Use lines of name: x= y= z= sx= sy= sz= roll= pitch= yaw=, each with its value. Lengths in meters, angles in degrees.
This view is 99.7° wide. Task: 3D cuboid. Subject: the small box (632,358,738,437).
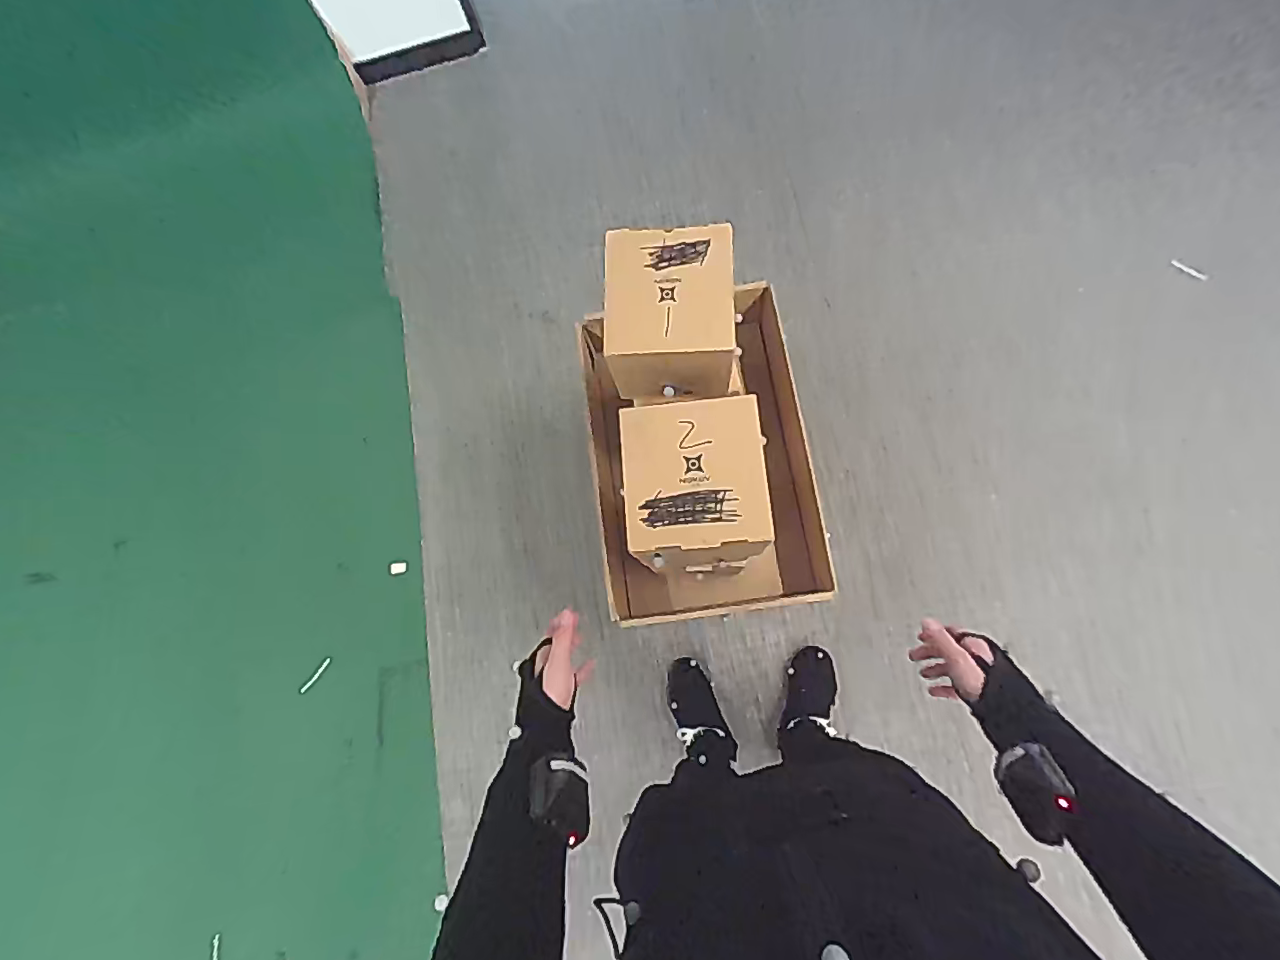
small box: x=0.064 y=-0.188 z=0.923 sx=0.168 sy=0.176 sz=0.179 roll=-10 pitch=78 yaw=4

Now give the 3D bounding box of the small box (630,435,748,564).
small box: x=0.079 y=0.041 z=0.866 sx=0.168 sy=0.176 sz=0.179 roll=-5 pitch=76 yaw=5

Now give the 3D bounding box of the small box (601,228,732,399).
small box: x=0.041 y=-0.225 z=0.765 sx=0.168 sy=0.176 sz=0.179 roll=0 pitch=80 yaw=6
